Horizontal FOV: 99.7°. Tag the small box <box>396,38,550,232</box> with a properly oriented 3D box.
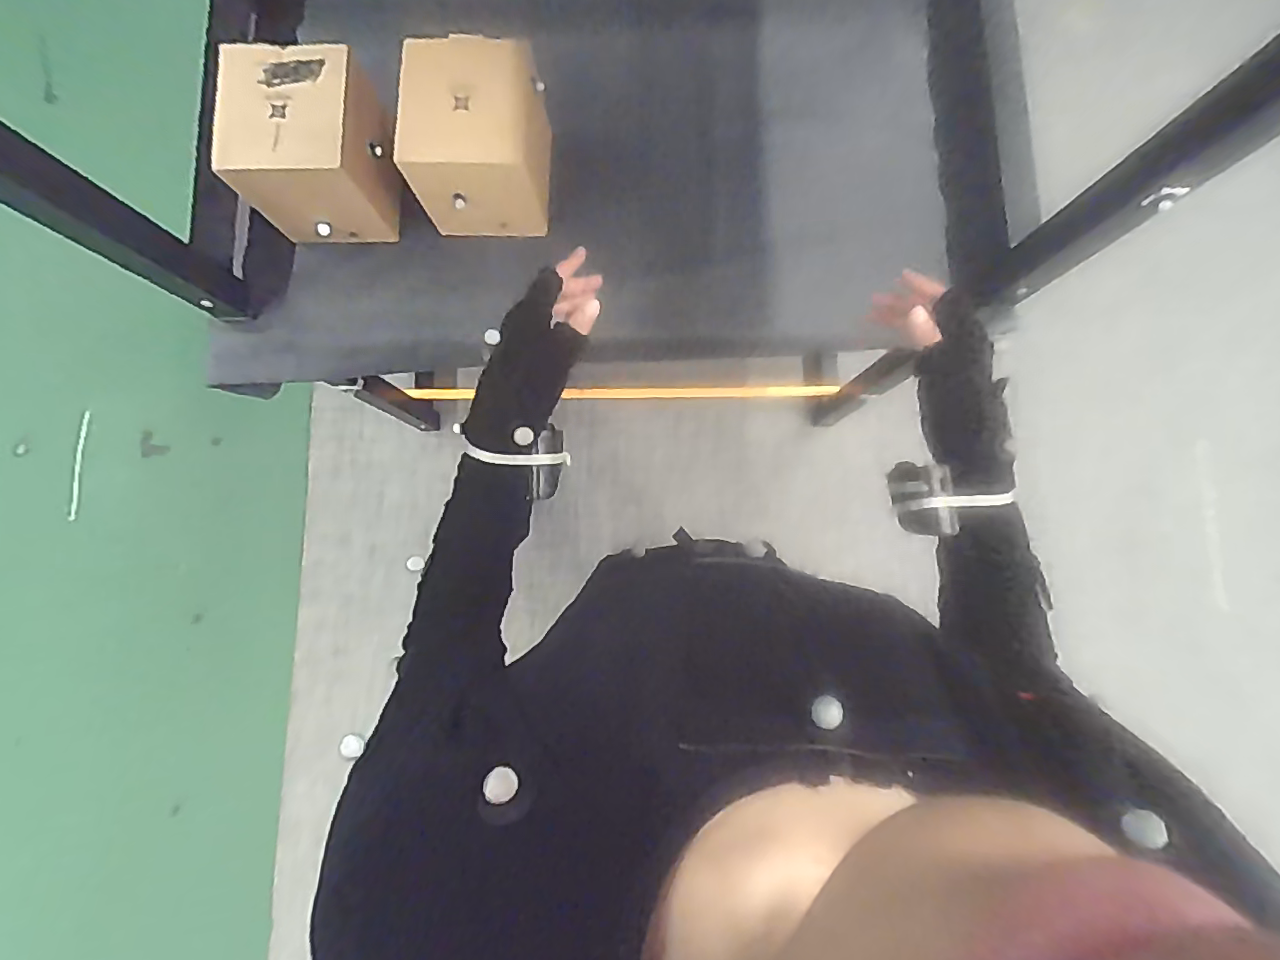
[{"bbox_3d":[-0.224,-0.476,0.768,0.168,0.176,0.179,1,82,0],"label":"small box"}]

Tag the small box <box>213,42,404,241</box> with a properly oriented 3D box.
[{"bbox_3d":[-0.451,-0.467,0.765,0.168,0.176,0.179,0,83,0],"label":"small box"}]
